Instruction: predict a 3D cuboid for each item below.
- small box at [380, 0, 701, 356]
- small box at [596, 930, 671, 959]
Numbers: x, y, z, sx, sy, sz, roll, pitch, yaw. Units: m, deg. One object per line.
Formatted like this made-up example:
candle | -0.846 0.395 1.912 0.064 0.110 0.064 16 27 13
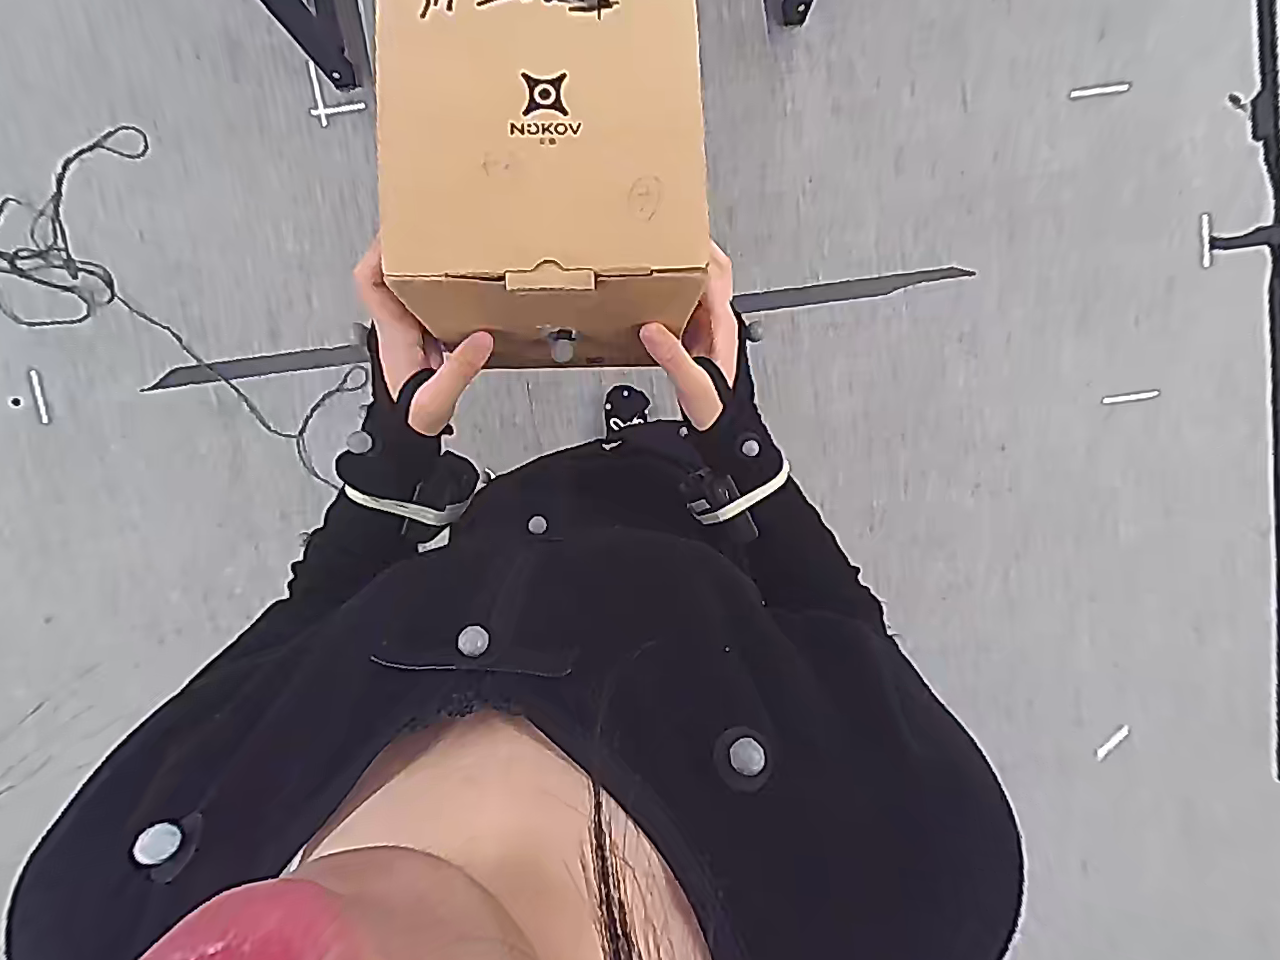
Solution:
small box | -0.055 -0.186 0.359 0.168 0.176 0.179 -2 87 -5
small box | -0.008 1.176 1.230 0.179 0.176 0.168 -9 95 0
